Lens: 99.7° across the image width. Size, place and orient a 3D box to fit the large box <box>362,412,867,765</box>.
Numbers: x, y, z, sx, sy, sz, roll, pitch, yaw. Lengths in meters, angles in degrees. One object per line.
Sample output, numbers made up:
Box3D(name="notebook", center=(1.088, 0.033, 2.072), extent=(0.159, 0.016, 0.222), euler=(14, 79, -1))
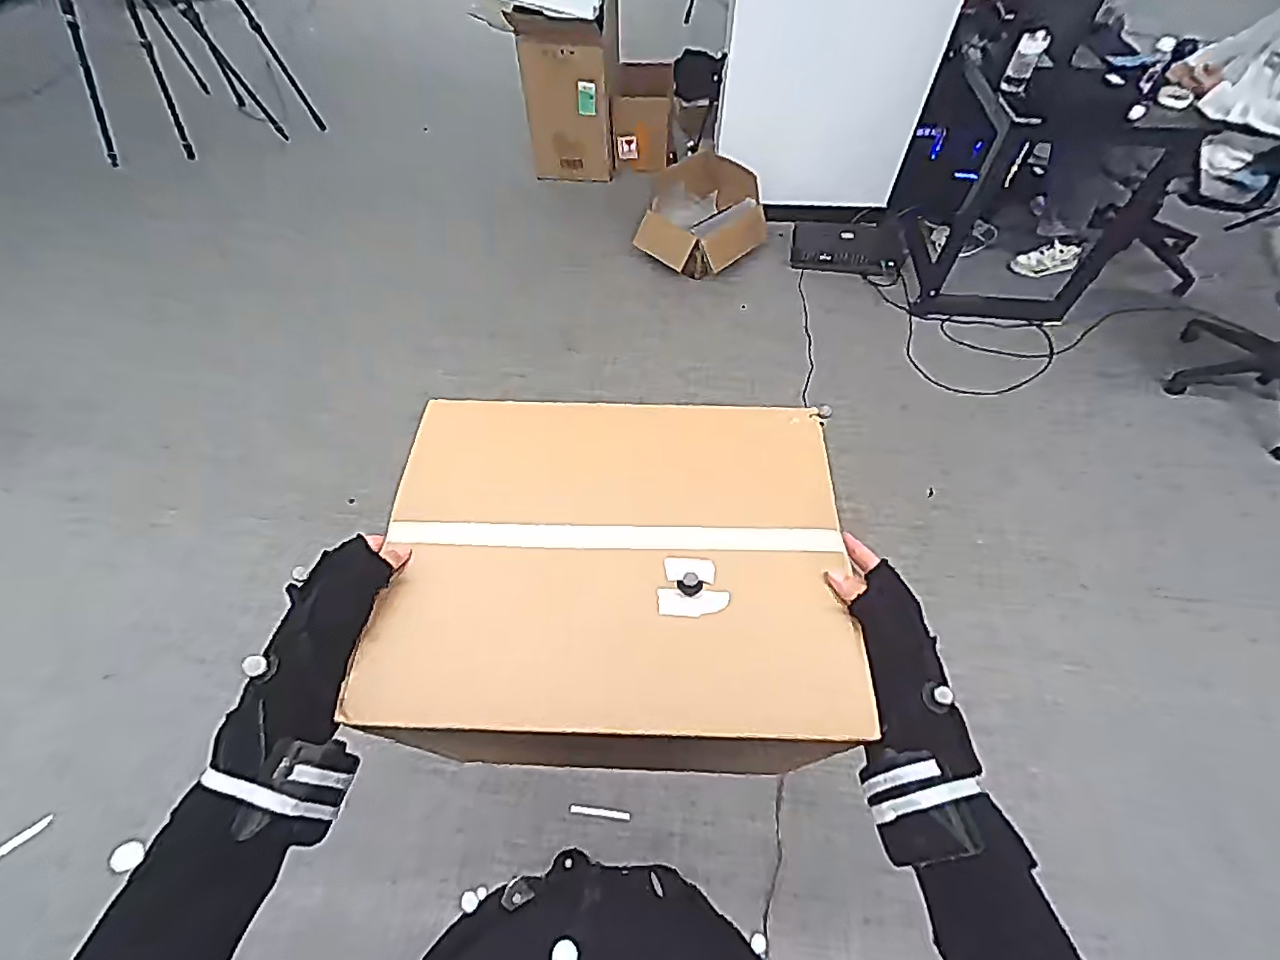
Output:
Box3D(name="large box", center=(-0.020, 0.139, 0.623), extent=(0.408, 0.320, 0.320), euler=(2, 58, 1))
